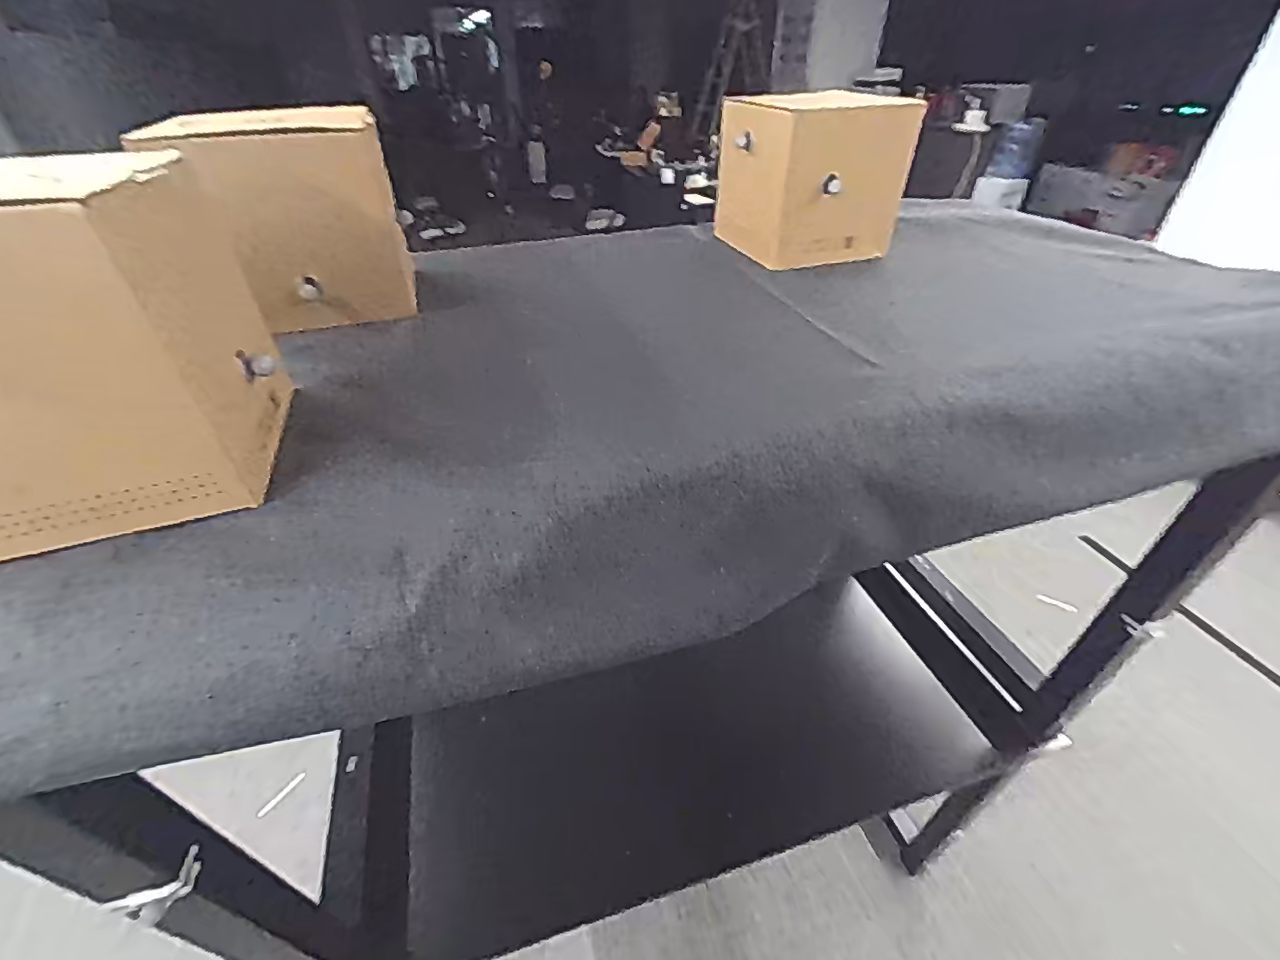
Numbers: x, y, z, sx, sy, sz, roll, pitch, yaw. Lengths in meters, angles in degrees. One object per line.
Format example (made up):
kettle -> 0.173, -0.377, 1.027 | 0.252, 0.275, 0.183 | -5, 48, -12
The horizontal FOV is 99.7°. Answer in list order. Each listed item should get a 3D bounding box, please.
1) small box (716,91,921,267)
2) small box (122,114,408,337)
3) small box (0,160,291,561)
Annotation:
small box -> 0.207, -0.377, 0.681 | 0.168, 0.176, 0.179 | -12, 40, -13
small box -> -0.340, -0.256, 0.542 | 0.179, 0.176, 0.168 | -12, 40, -15
small box -> -0.335, -0.071, 0.305 | 0.179, 0.176, 0.168 | -14, 39, -16
